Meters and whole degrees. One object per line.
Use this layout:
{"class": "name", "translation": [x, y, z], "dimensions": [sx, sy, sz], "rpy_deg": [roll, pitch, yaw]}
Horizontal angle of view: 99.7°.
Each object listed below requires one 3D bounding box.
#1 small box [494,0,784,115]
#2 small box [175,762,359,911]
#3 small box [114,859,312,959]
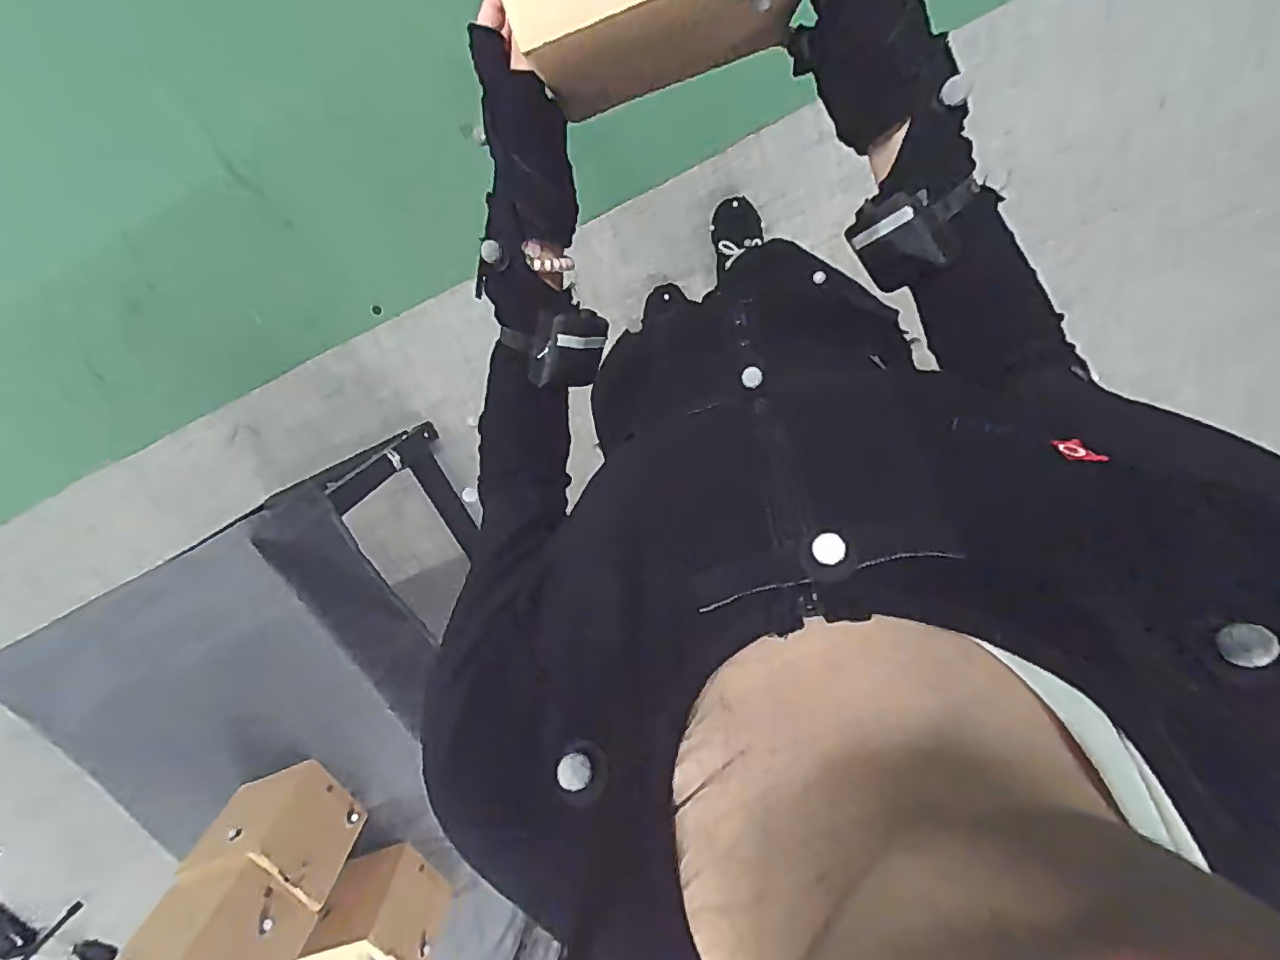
{"class": "small box", "translation": [-0.006, -0.350, 0.318], "dimensions": [0.179, 0.176, 0.168], "rpy_deg": [-17, 111, 8]}
{"class": "small box", "translation": [-0.627, 0.631, 0.943], "dimensions": [0.179, 0.176, 0.168], "rpy_deg": [-23, 109, 11]}
{"class": "small box", "translation": [-0.639, 0.709, 0.799], "dimensions": [0.179, 0.176, 0.168], "rpy_deg": [-25, 110, 11]}
